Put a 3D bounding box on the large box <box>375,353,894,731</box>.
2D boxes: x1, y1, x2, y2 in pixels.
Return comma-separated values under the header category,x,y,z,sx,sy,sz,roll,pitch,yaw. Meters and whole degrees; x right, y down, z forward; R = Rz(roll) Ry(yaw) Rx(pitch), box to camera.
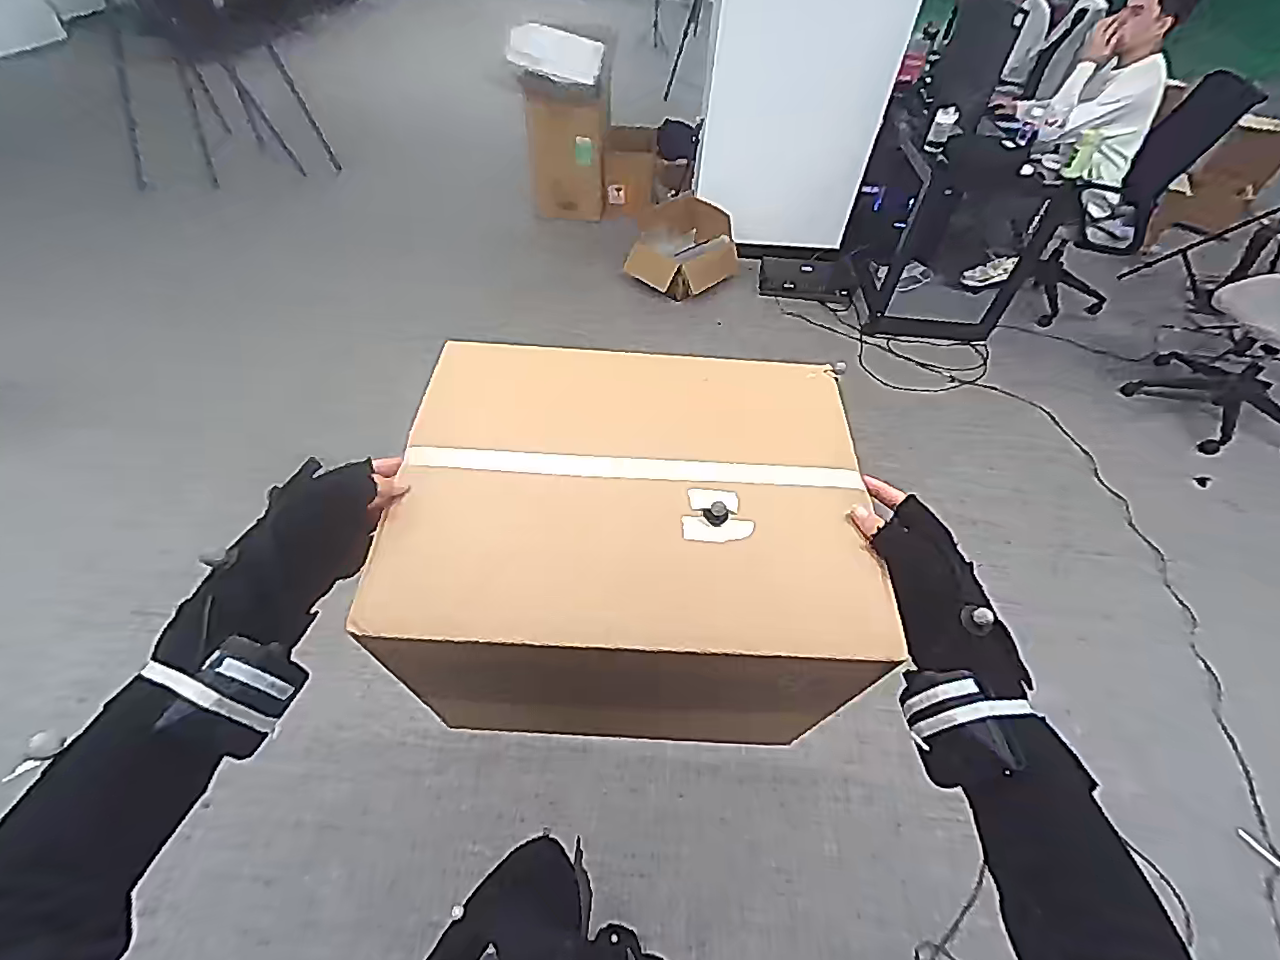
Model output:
category,x,y,z,sx,sy,sz,roll,pitch,yaw
large box,-0.009,0.084,0.613,0.408,0.320,0.320,4,54,-2
